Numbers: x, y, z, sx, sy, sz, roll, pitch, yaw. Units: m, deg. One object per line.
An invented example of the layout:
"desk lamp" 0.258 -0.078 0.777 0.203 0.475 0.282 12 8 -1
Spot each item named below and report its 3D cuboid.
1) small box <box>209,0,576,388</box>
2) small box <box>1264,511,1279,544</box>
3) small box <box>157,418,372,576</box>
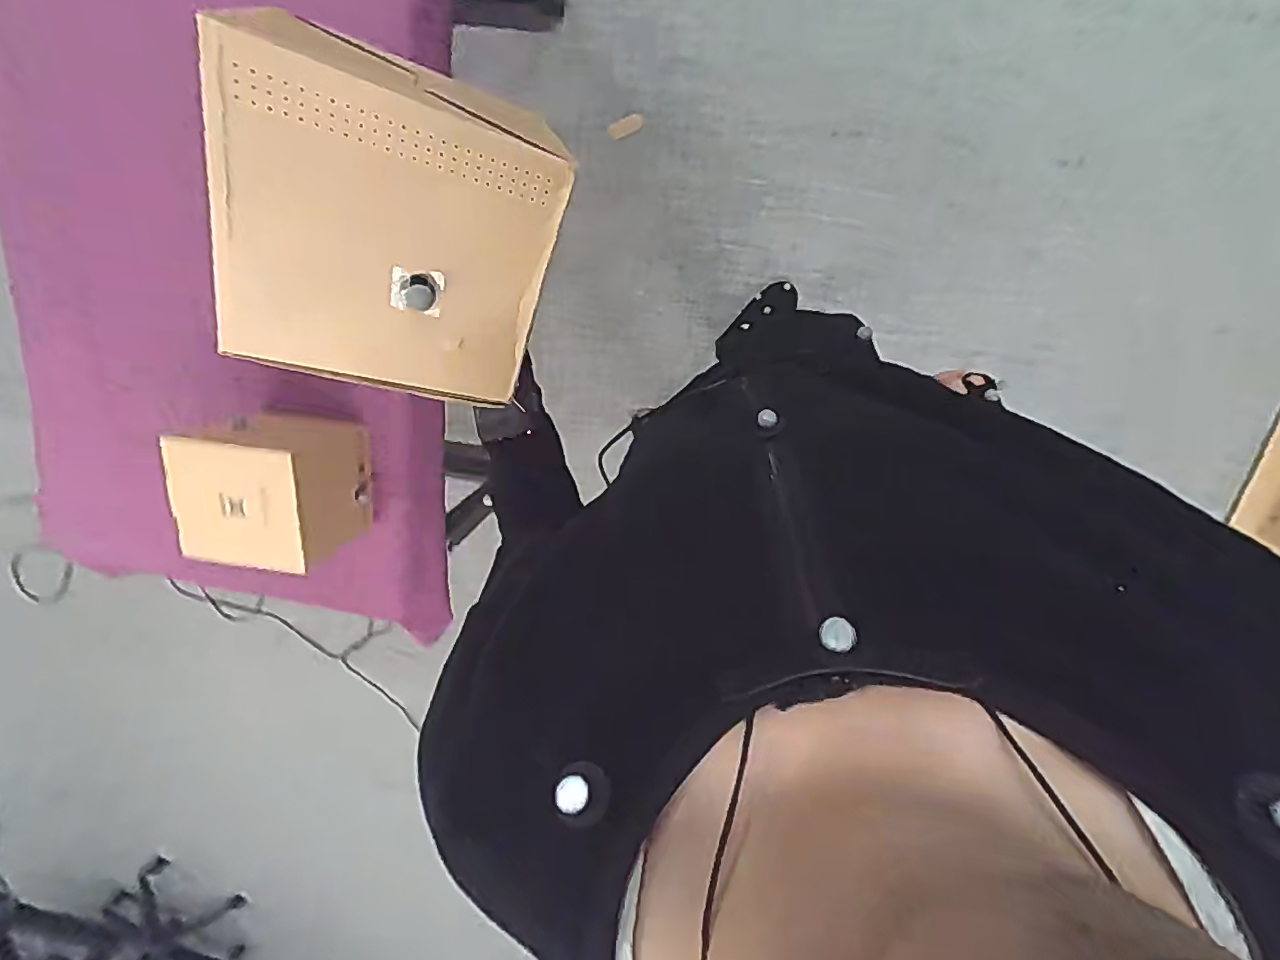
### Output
"small box" -0.155 -0.189 0.359 0.179 0.168 0.176 8 127 -25
"small box" 1.687 0.116 1.288 0.179 0.176 0.168 14 109 1
"small box" -0.504 0.013 0.752 0.179 0.176 0.168 7 108 4
